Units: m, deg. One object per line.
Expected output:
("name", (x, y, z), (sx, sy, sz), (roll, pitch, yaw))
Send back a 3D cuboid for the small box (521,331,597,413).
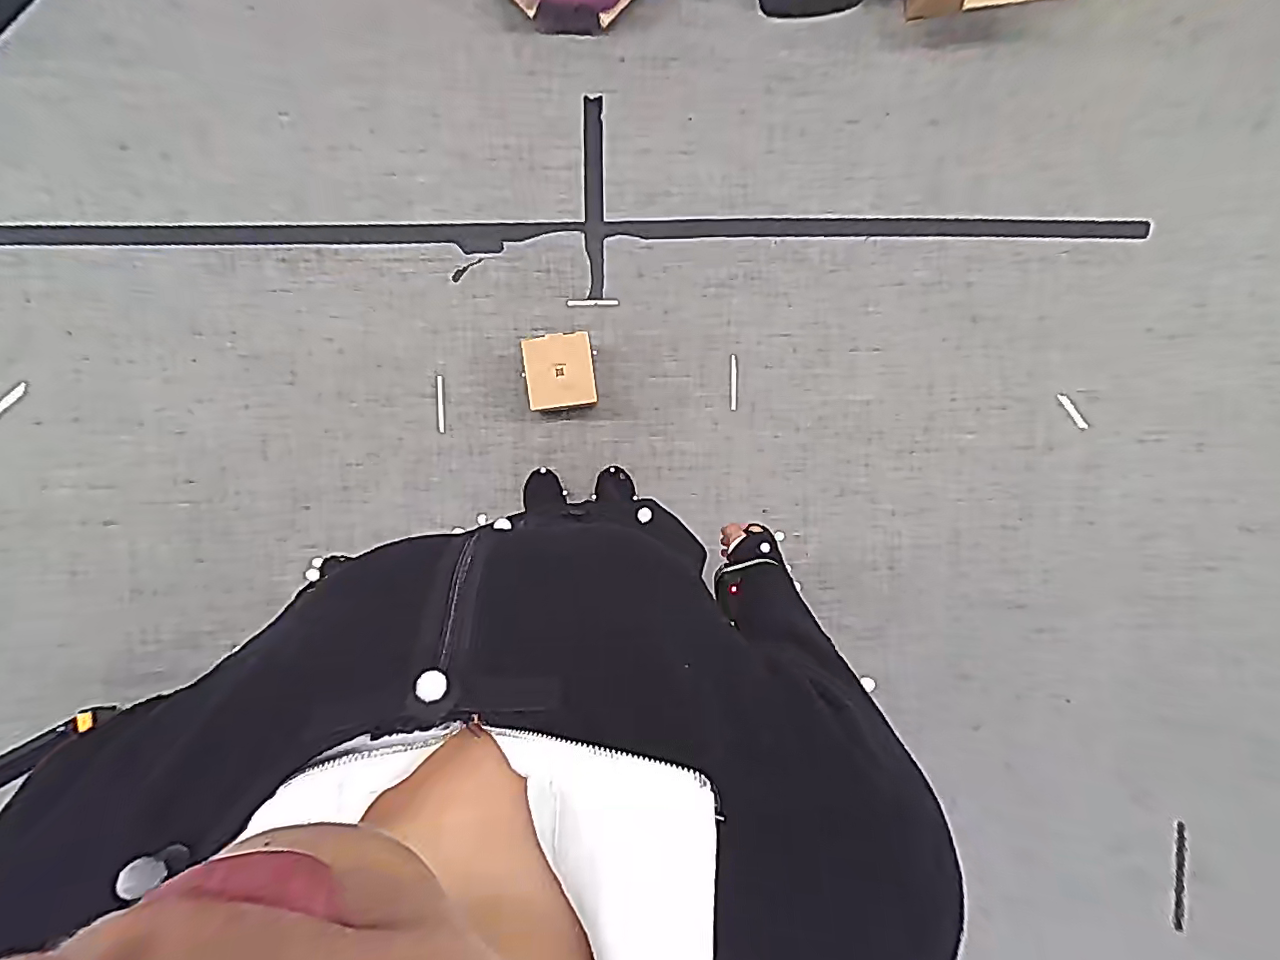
("small box", (-0.202, -0.270, 1.387), (0.168, 0.176, 0.179), (-8, 96, -3))
